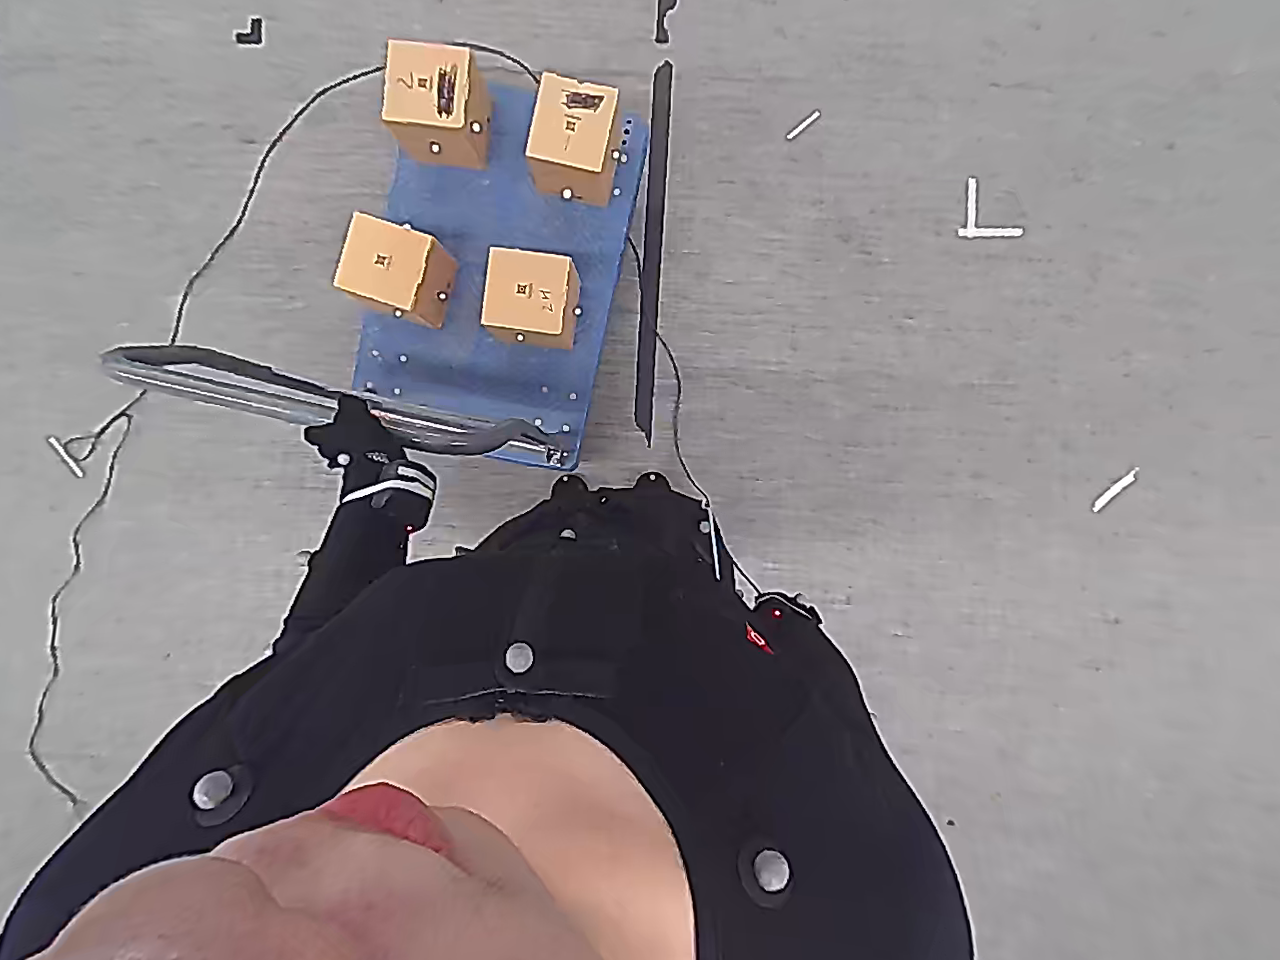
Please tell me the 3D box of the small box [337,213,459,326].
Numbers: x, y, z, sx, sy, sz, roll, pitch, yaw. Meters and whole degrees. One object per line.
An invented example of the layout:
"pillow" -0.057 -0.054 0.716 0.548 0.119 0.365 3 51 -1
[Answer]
"small box" -0.536 -0.463 1.220 0.179 0.176 0.168 17 92 -2

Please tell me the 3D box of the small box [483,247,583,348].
"small box" -0.234 -0.402 1.218 0.179 0.176 0.168 8 93 0

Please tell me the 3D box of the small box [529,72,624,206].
"small box" -0.134 -0.746 1.201 0.168 0.176 0.179 13 94 0
